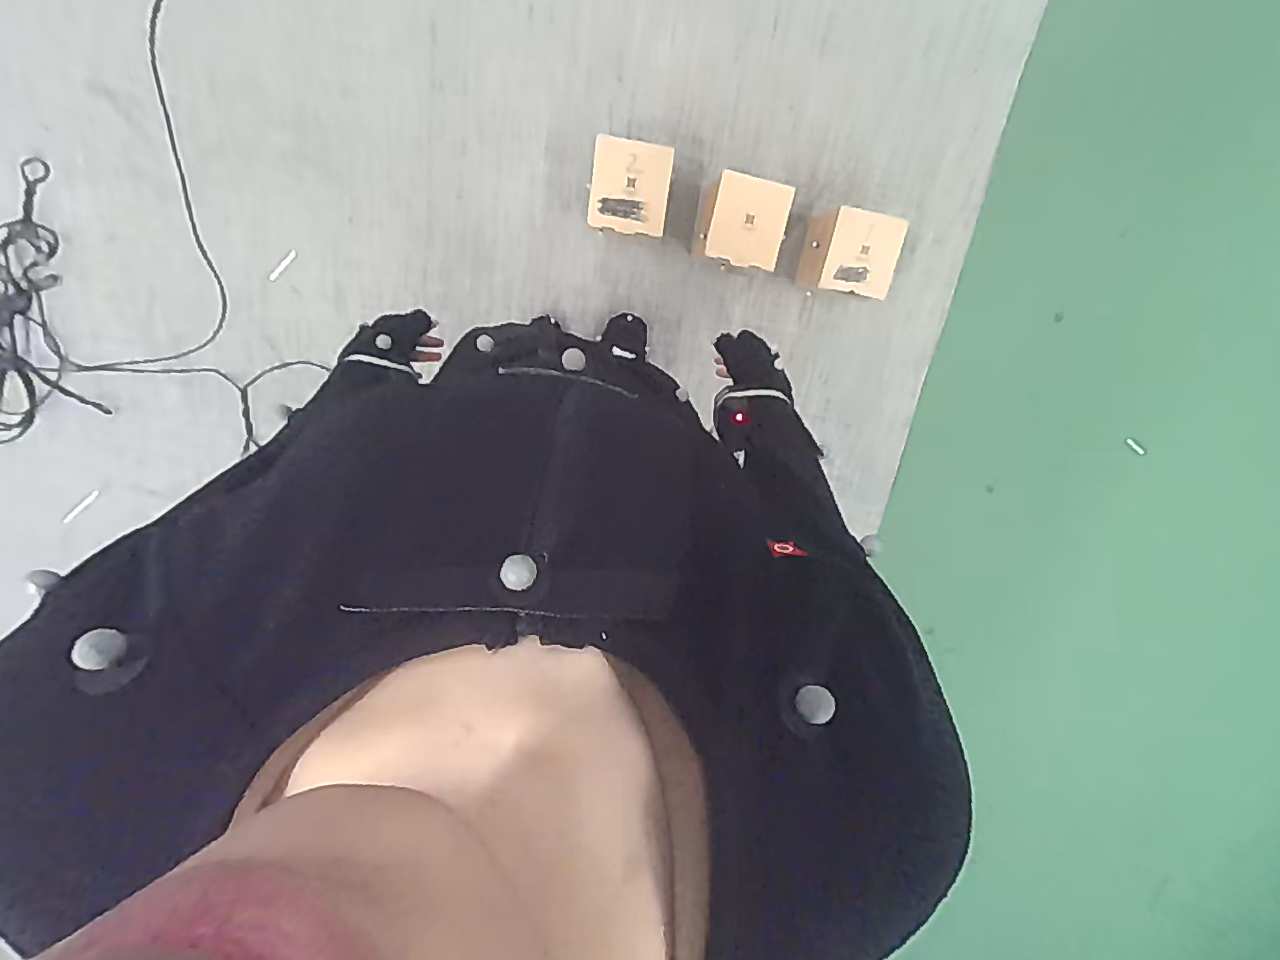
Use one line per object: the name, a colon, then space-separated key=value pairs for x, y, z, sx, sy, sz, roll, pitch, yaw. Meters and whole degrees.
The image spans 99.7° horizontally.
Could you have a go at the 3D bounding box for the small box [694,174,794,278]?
small box: x=0.231 y=-0.578 z=1.253 sx=0.168 sy=0.176 sz=0.179 roll=10 pitch=108 yaw=-8

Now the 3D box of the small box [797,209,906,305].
small box: x=0.492 y=-0.523 z=1.290 sx=0.168 sy=0.176 sz=0.179 roll=9 pitch=107 yaw=-7
